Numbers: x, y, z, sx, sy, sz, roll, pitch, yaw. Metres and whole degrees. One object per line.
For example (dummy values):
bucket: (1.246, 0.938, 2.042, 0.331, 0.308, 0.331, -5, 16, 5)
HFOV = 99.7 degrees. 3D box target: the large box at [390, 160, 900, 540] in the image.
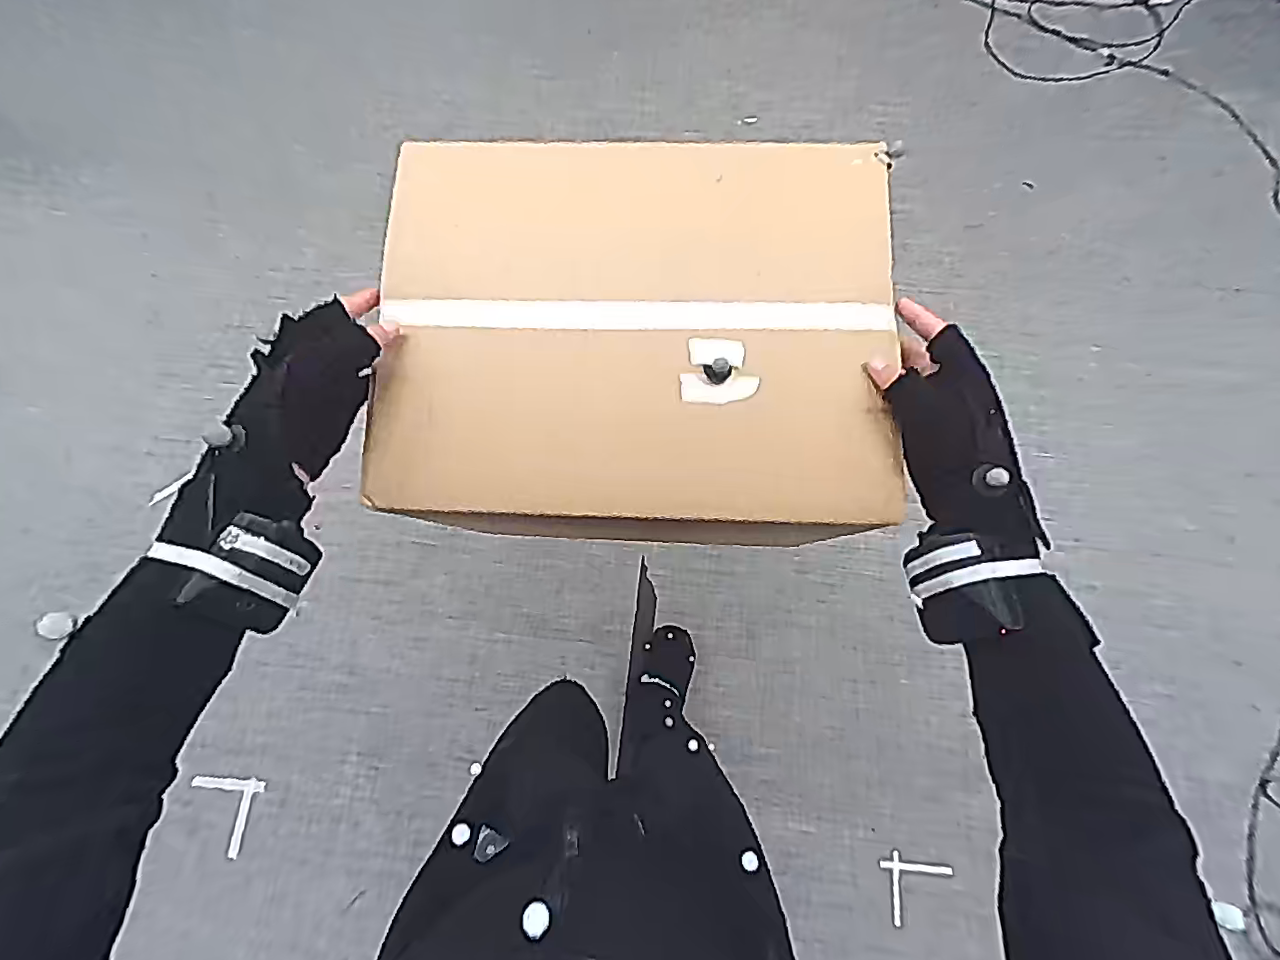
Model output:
large box: (0.006, -0.100, 0.588, 0.408, 0.320, 0.320, 2, 81, 2)
